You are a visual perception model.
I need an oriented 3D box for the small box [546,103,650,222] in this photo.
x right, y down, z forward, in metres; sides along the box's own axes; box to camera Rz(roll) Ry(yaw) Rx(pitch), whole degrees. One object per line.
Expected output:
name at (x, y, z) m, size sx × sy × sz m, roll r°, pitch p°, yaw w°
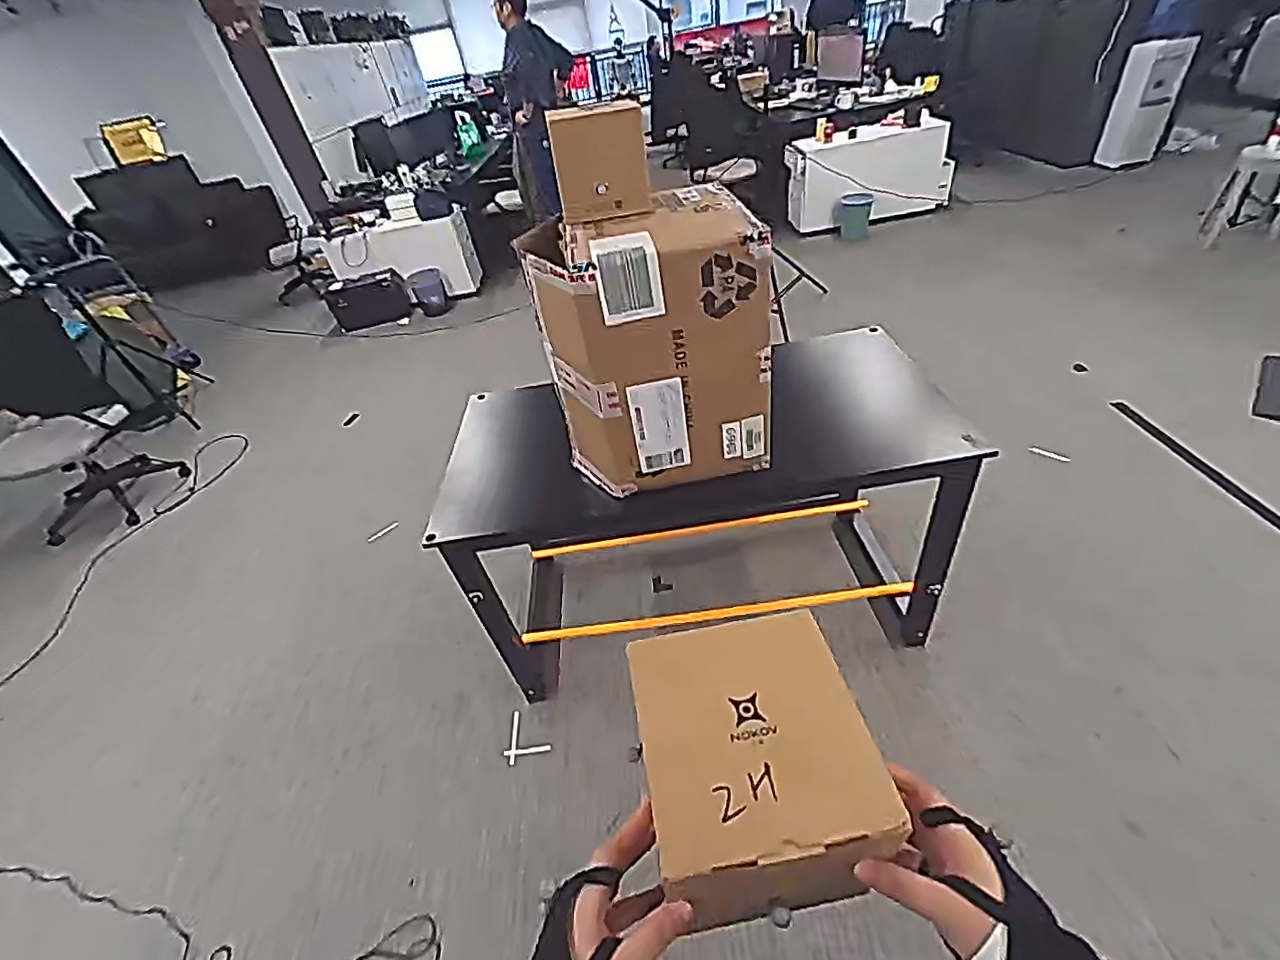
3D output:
small box at (-0.080, -0.604, 1.029) m, size 0.168 × 0.176 × 0.179 m, roll -11°, pitch 38°, yaw -2°

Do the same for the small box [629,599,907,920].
small box at (0.088, 0.232, 0.459) m, size 0.168 × 0.176 × 0.179 m, roll -10°, pitch 41°, yaw -3°
